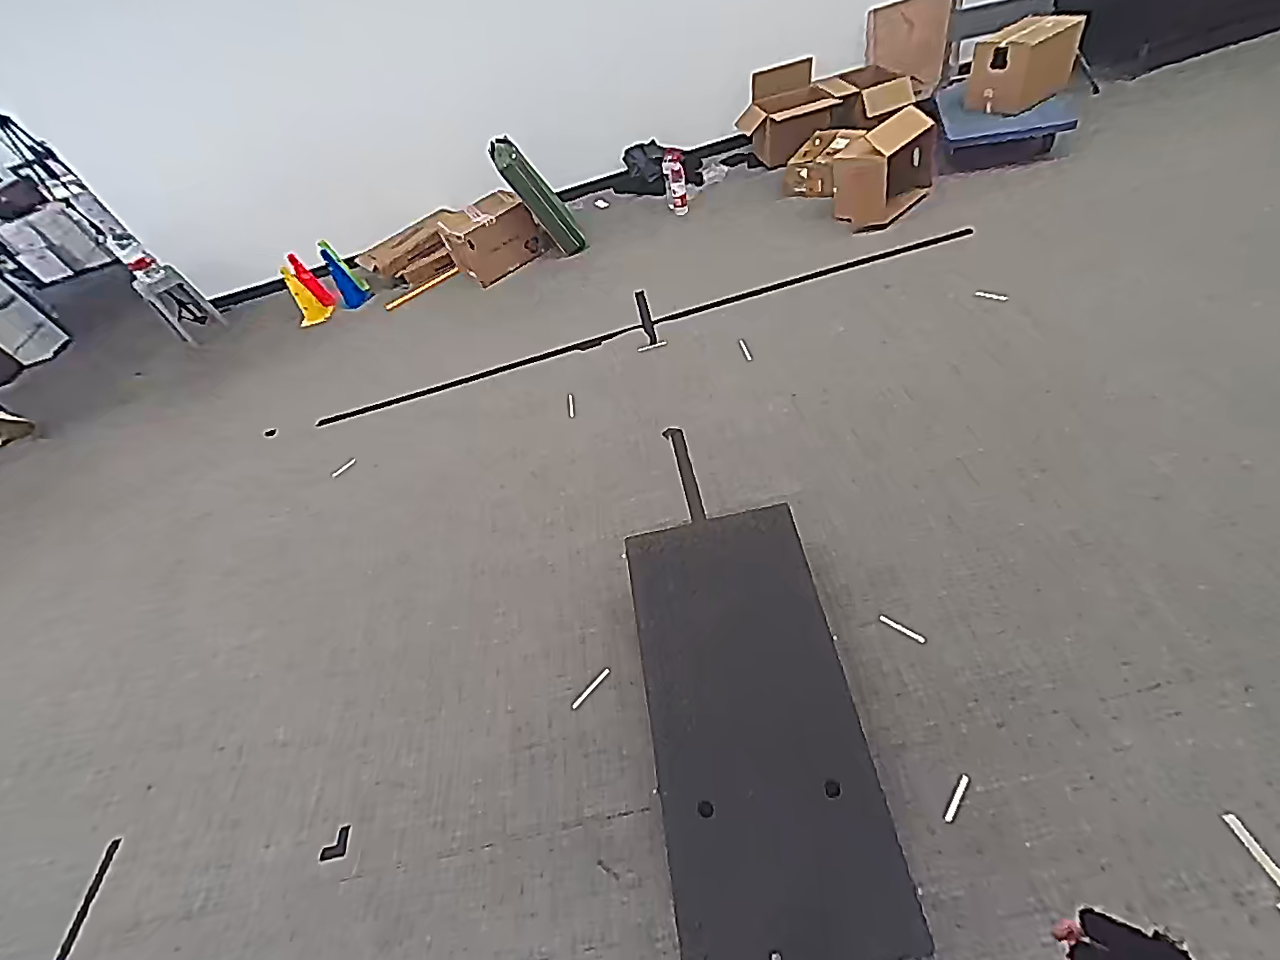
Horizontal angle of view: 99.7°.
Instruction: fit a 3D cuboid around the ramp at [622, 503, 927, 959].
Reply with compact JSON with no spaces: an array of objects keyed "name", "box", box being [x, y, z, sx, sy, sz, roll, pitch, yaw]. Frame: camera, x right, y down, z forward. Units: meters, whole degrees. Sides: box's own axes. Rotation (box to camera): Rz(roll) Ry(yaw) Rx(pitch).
[{"name":"ramp","box":[0.255,0.536,1.324,0.509,0.206,0.991,-14,48,4]}]
